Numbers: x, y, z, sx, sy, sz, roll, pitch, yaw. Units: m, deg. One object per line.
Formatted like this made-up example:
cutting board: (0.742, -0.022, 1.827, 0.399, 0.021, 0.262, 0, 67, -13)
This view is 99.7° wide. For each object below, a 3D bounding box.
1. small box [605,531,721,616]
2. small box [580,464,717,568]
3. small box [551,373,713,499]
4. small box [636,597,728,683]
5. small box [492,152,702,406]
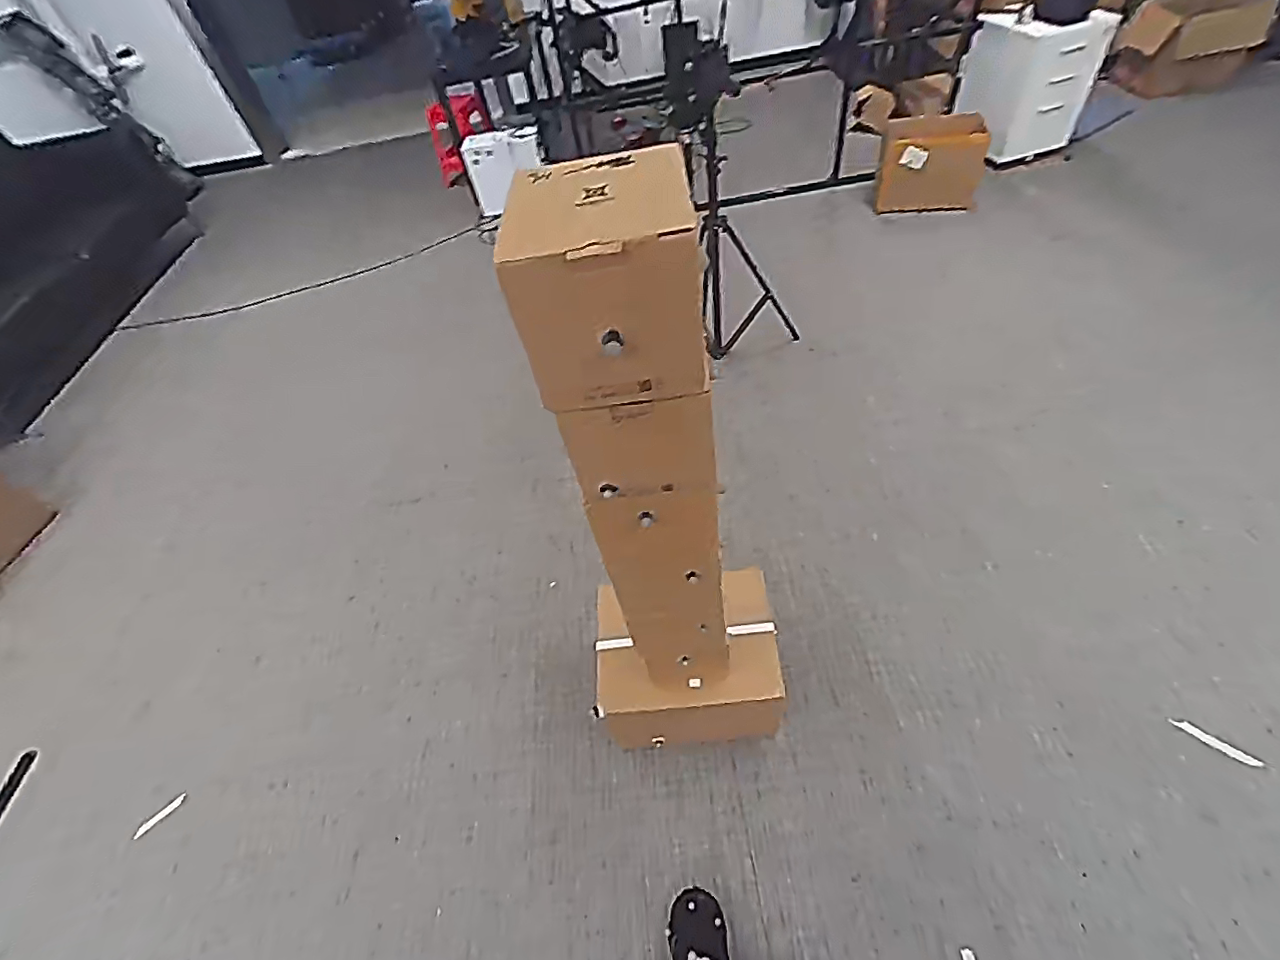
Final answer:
small box: (0.041, 0.117, 0.915, 0.179, 0.176, 0.168, -6, 50, 5)
small box: (0.018, 0.015, 0.791, 0.179, 0.176, 0.168, -6, 51, 6)
small box: (-0.002, -0.089, 0.666, 0.168, 0.176, 0.179, -6, 50, 5)
small box: (0.089, 0.324, 1.165, 0.179, 0.176, 0.168, -9, 51, 2)
small box: (-0.031, -0.189, 0.539, 0.168, 0.176, 0.179, -7, 52, 5)
